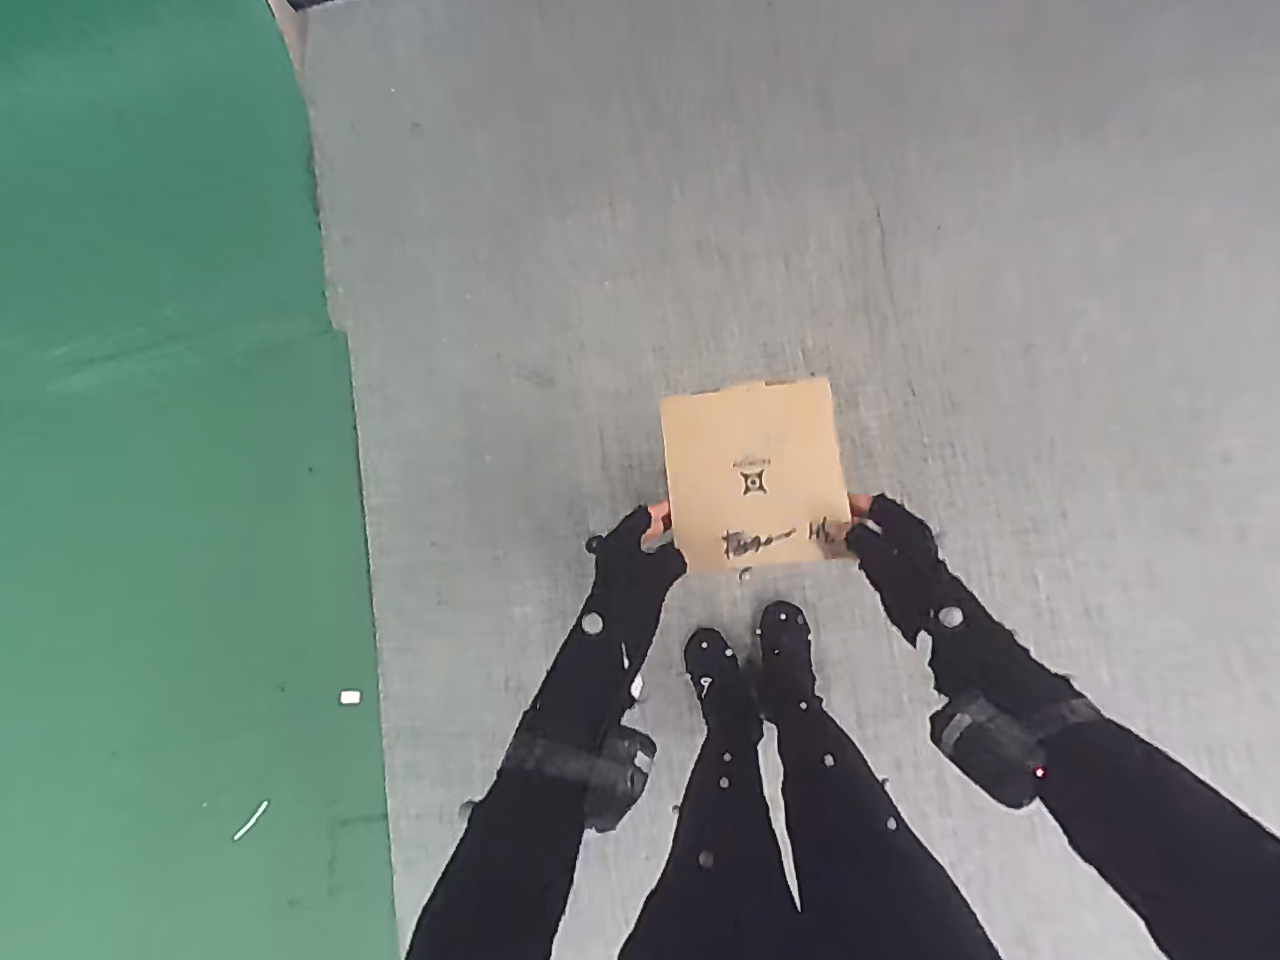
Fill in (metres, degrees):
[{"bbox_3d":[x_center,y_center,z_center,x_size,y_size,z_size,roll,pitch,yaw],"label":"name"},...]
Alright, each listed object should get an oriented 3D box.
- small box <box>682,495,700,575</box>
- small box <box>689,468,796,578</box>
[{"bbox_3d":[0.187,0.110,1.163,0.179,0.176,0.168,-7,83,6],"label":"small box"},{"bbox_3d":[0.183,0.082,1.004,0.168,0.176,0.179,-8,84,7],"label":"small box"}]
